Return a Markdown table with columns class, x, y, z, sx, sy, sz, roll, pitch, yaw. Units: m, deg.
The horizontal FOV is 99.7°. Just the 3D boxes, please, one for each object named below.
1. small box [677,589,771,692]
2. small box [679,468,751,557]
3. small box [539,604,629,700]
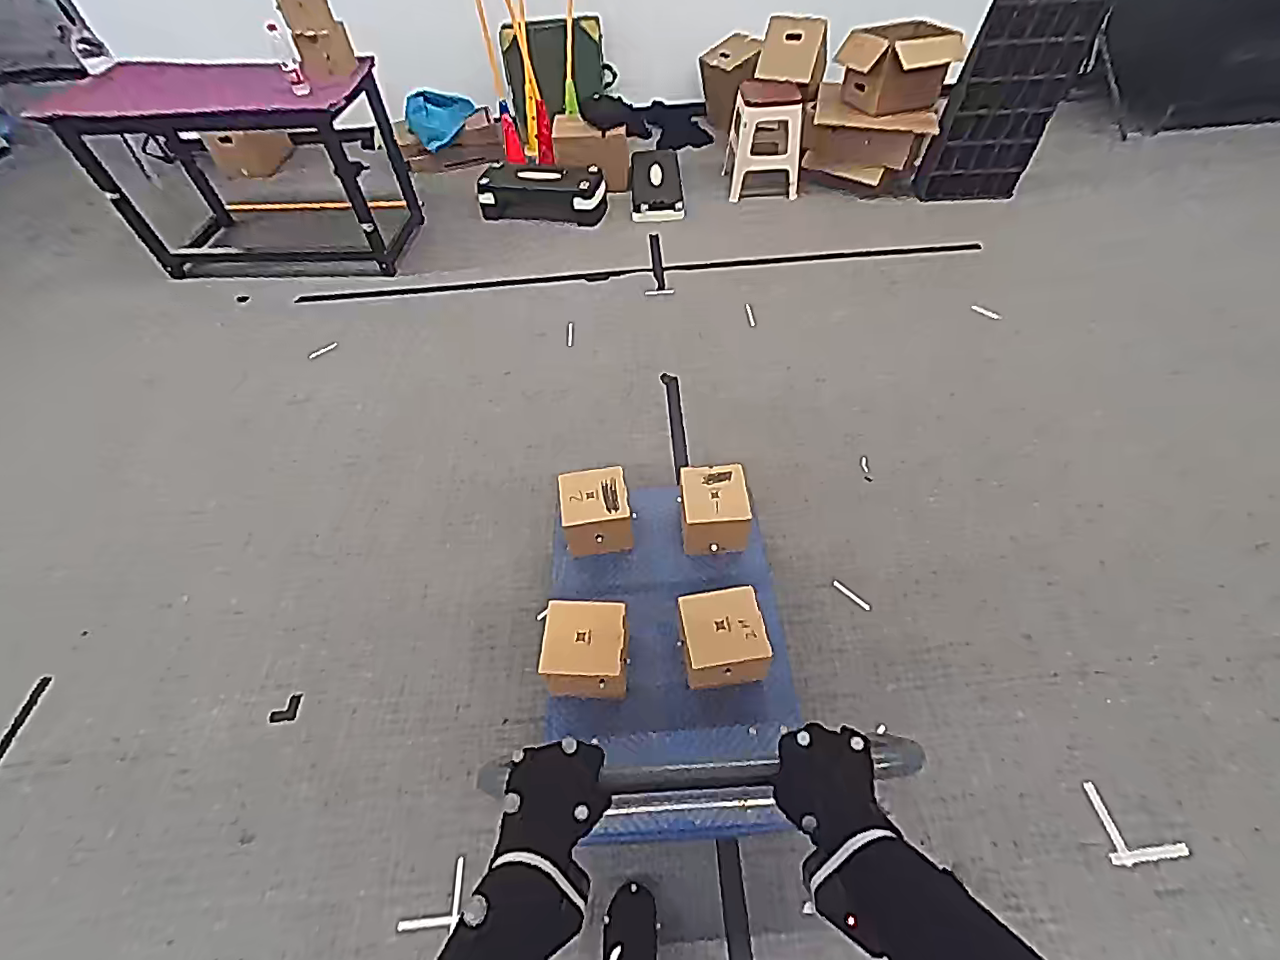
| class | x | y | z | sx | sy | sz | roll | pitch | yaw |
| --- | --- | --- | --- | --- | --- | --- | --- | --- | --- |
| small box | 0.186 | 0.373 | 1.244 | 0.179 | 0.176 | 0.168 | -9 | 53 | -3 |
| small box | 0.194 | 0.088 | 1.456 | 0.168 | 0.176 | 0.179 | -4 | 54 | 0 |
| small box | -0.120 | 0.398 | 1.242 | 0.179 | 0.176 | 0.168 | 1 | 53 | 2 |
